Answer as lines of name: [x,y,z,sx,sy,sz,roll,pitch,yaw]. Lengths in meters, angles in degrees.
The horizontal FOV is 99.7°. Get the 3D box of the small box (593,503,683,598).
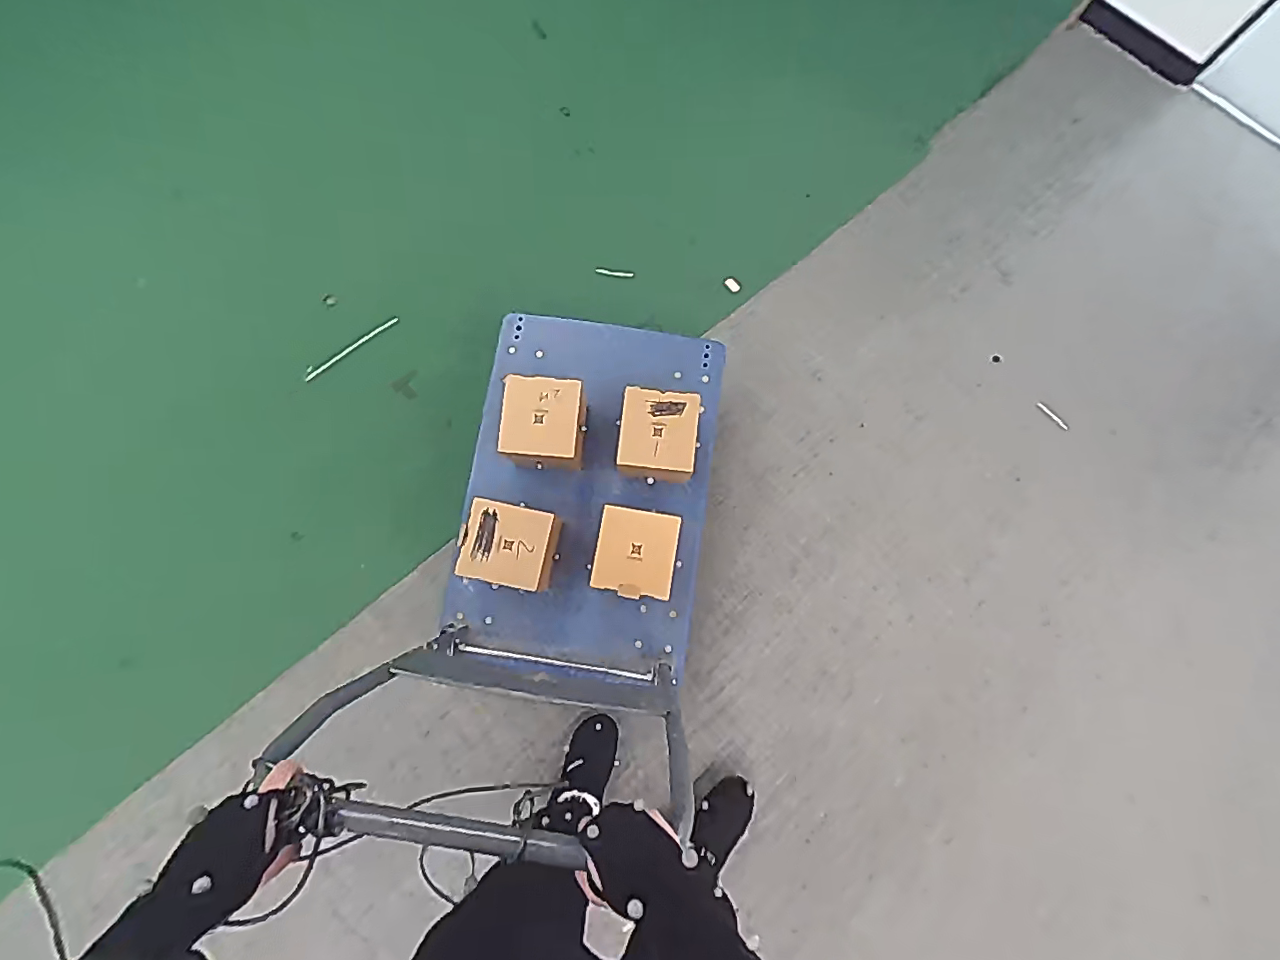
small box: [-0.004,0.157,1.195,0.168,0.176,0.179,9,82,2]

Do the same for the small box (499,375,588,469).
small box: [-0.213,-0.126,1.240,0.168,0.176,0.179,5,81,0]

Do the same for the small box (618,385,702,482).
small box: [0.043,-0.101,1.234,0.168,0.176,0.179,6,81,2]
